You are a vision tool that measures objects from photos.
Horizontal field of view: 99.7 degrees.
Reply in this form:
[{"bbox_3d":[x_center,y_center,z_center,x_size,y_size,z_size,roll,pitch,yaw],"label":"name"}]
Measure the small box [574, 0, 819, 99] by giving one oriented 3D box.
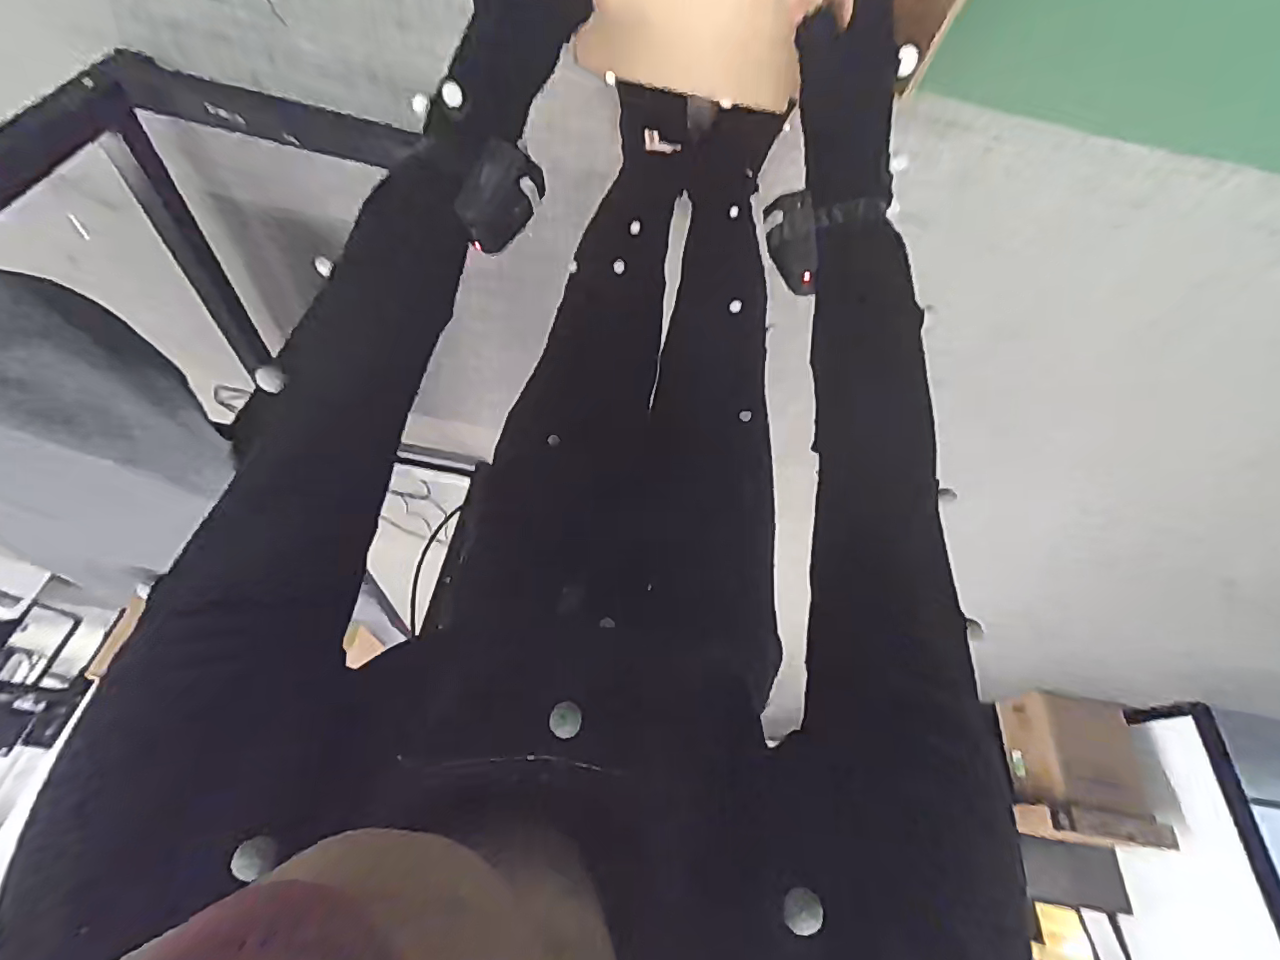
[{"bbox_3d":[0.052,-0.431,0.410,0.179,0.176,0.168,9,145,-5],"label":"small box"}]
